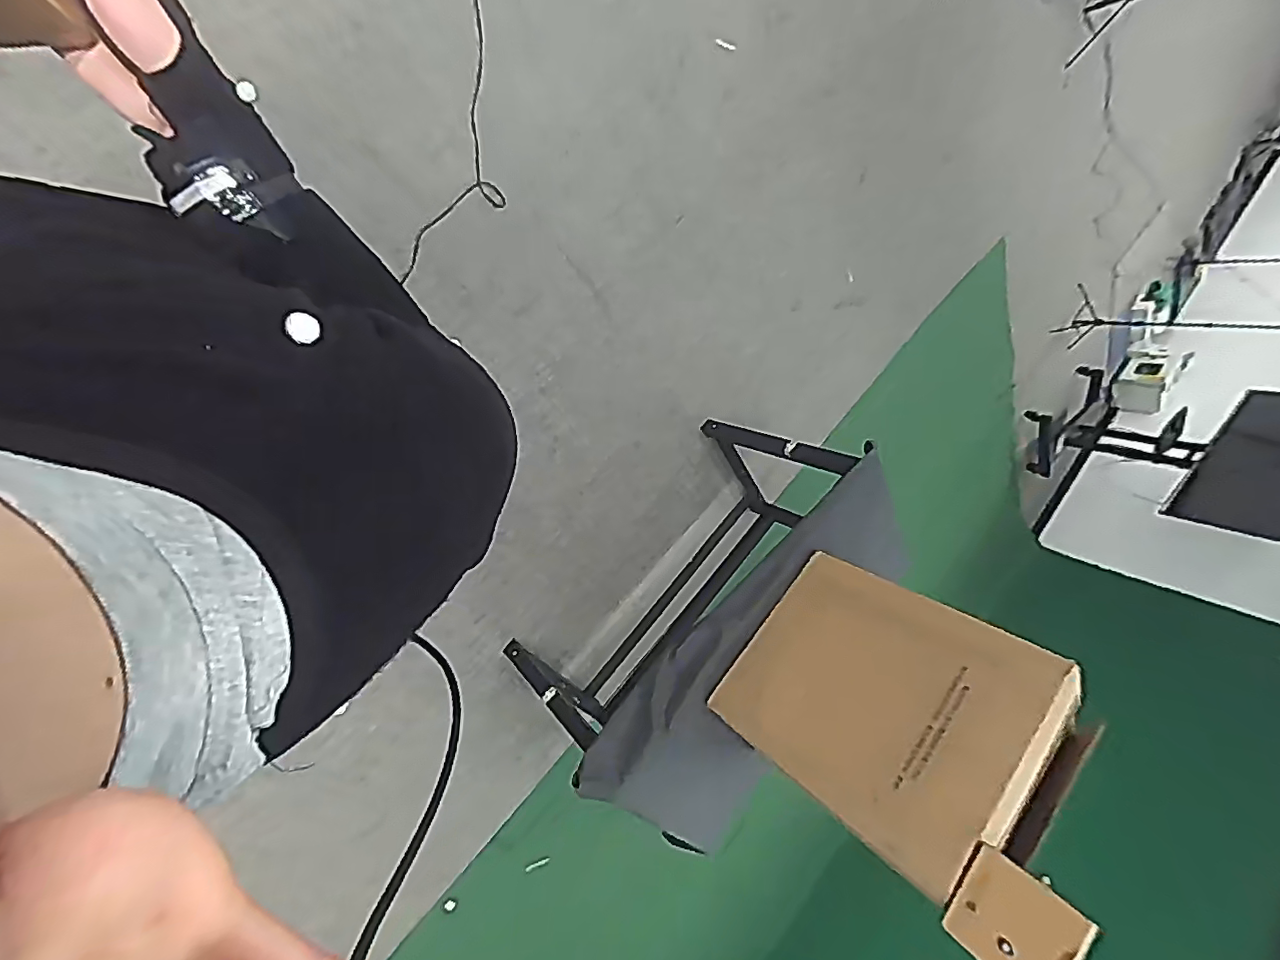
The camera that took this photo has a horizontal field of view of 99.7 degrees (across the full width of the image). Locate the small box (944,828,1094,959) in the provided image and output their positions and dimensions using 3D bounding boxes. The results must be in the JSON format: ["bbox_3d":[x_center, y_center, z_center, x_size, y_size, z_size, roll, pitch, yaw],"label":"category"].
[{"bbox_3d":[0.681,0.768,0.977,0.168,0.176,0.179,-54,131,-7],"label":"small box"}]

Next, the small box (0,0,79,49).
[{"bbox_3d":[-0.389,-0.290,0.204,0.168,0.176,0.179,-19,114,-17],"label":"small box"}]
